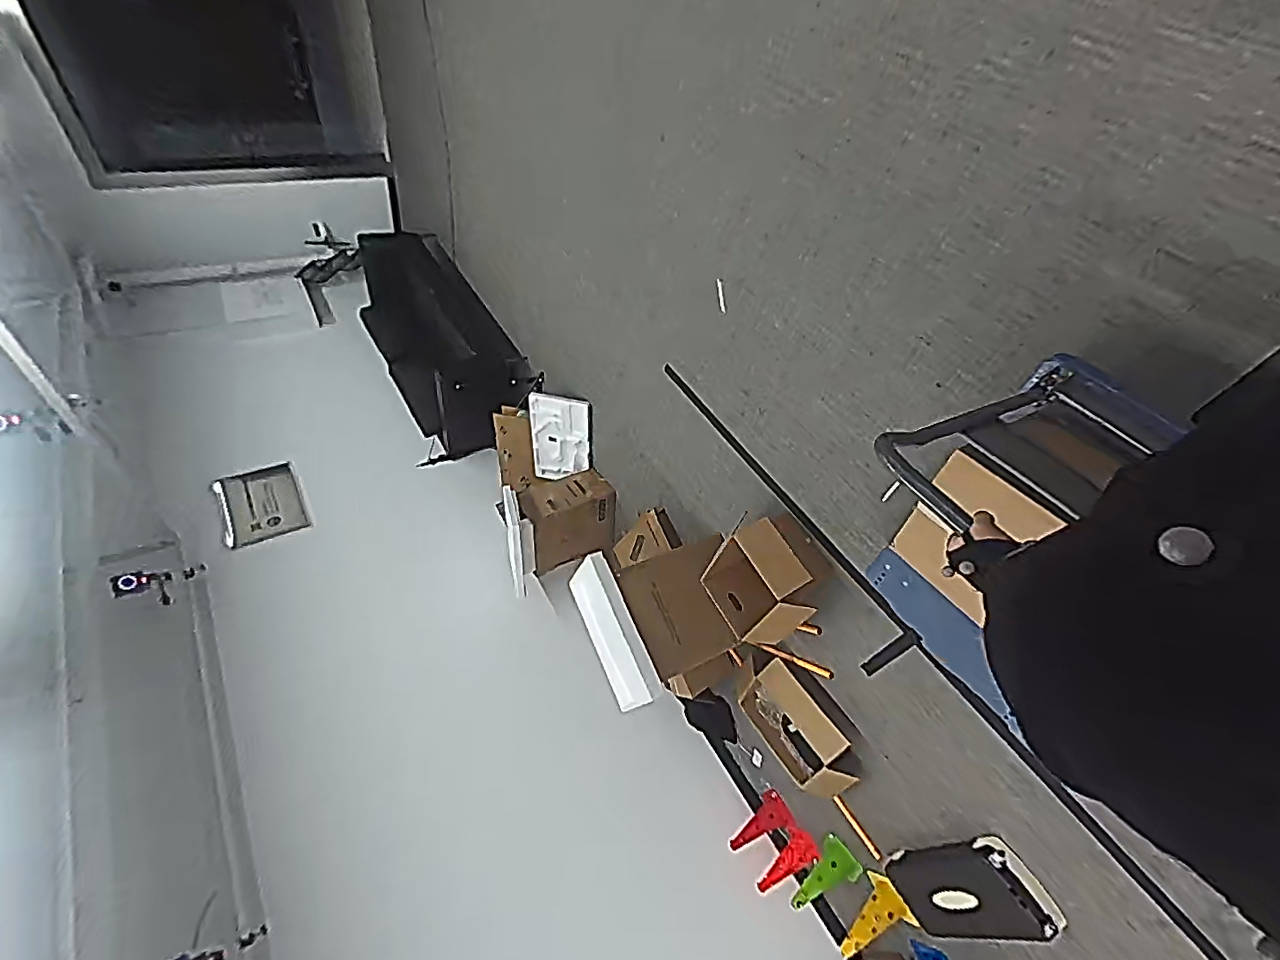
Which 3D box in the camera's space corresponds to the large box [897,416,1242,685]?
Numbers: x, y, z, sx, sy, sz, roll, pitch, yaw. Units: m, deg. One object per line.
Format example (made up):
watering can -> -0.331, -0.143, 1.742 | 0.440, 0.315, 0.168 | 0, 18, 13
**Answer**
large box -> 0.852, 0.126, 1.126 | 0.408, 0.320, 0.320 | 50, 146, 35
